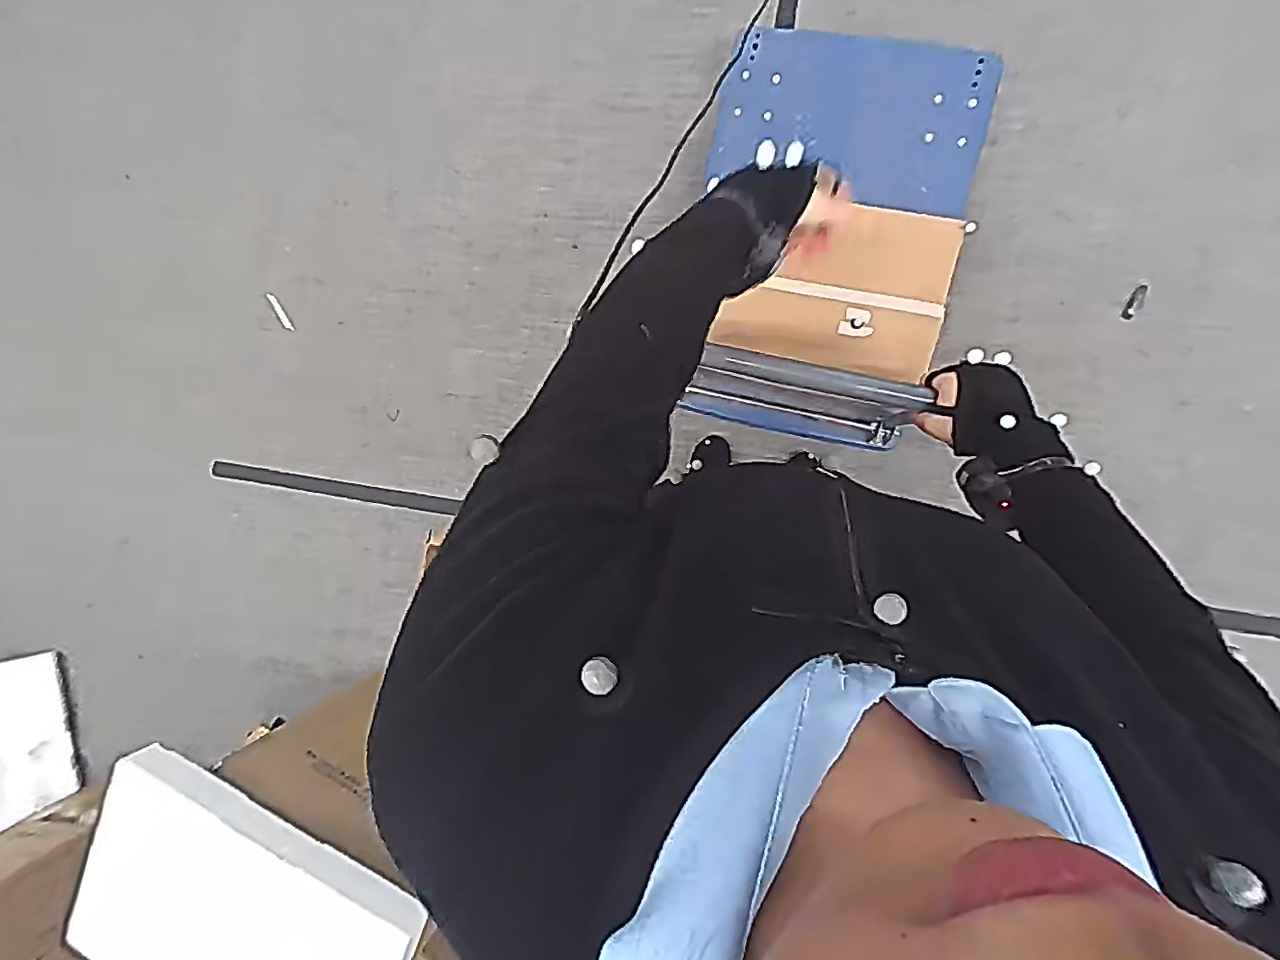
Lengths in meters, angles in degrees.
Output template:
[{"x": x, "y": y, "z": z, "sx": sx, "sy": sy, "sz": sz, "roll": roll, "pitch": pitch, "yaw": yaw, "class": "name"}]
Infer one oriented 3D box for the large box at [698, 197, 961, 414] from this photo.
[{"x": 0.349, "y": -0.331, "z": 1.110, "sx": 0.408, "sy": 0.320, "sz": 0.320, "roll": 14, "pitch": 97, "yaw": 8, "class": "large box"}]
